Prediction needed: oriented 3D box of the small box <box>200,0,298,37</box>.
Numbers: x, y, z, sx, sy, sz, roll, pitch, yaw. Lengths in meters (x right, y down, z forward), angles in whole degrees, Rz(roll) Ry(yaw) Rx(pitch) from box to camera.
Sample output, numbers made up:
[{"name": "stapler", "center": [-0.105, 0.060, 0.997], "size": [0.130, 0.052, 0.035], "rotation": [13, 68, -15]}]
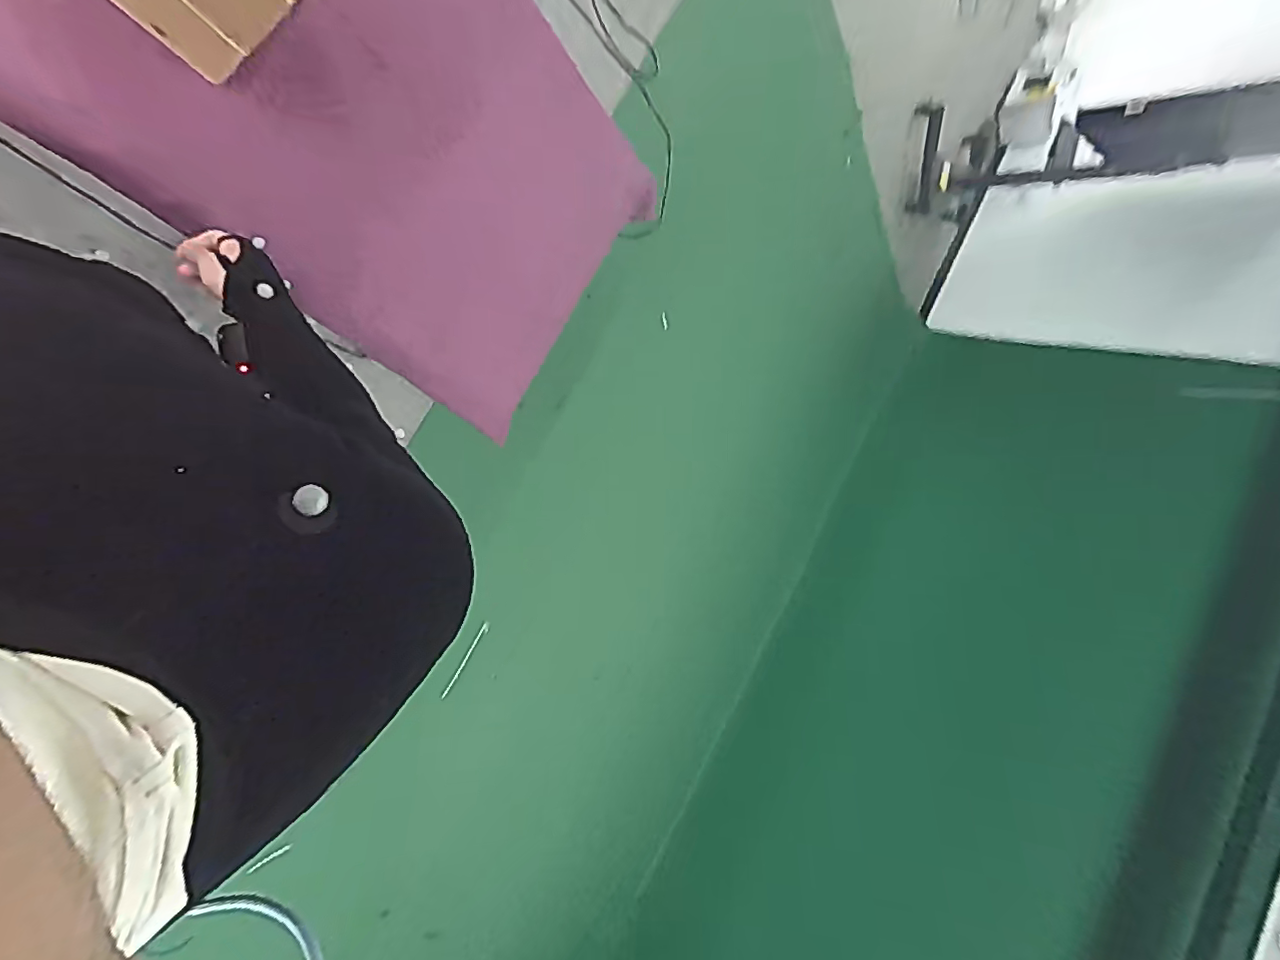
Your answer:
[{"name": "small box", "center": [-0.343, -0.528, 0.449], "size": [0.168, 0.176, 0.179], "rotation": [36, 79, -48]}]

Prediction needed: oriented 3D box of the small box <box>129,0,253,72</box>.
[{"name": "small box", "center": [-0.463, -0.570, 0.554], "size": [0.168, 0.176, 0.179], "rotation": [34, 80, -49]}]
